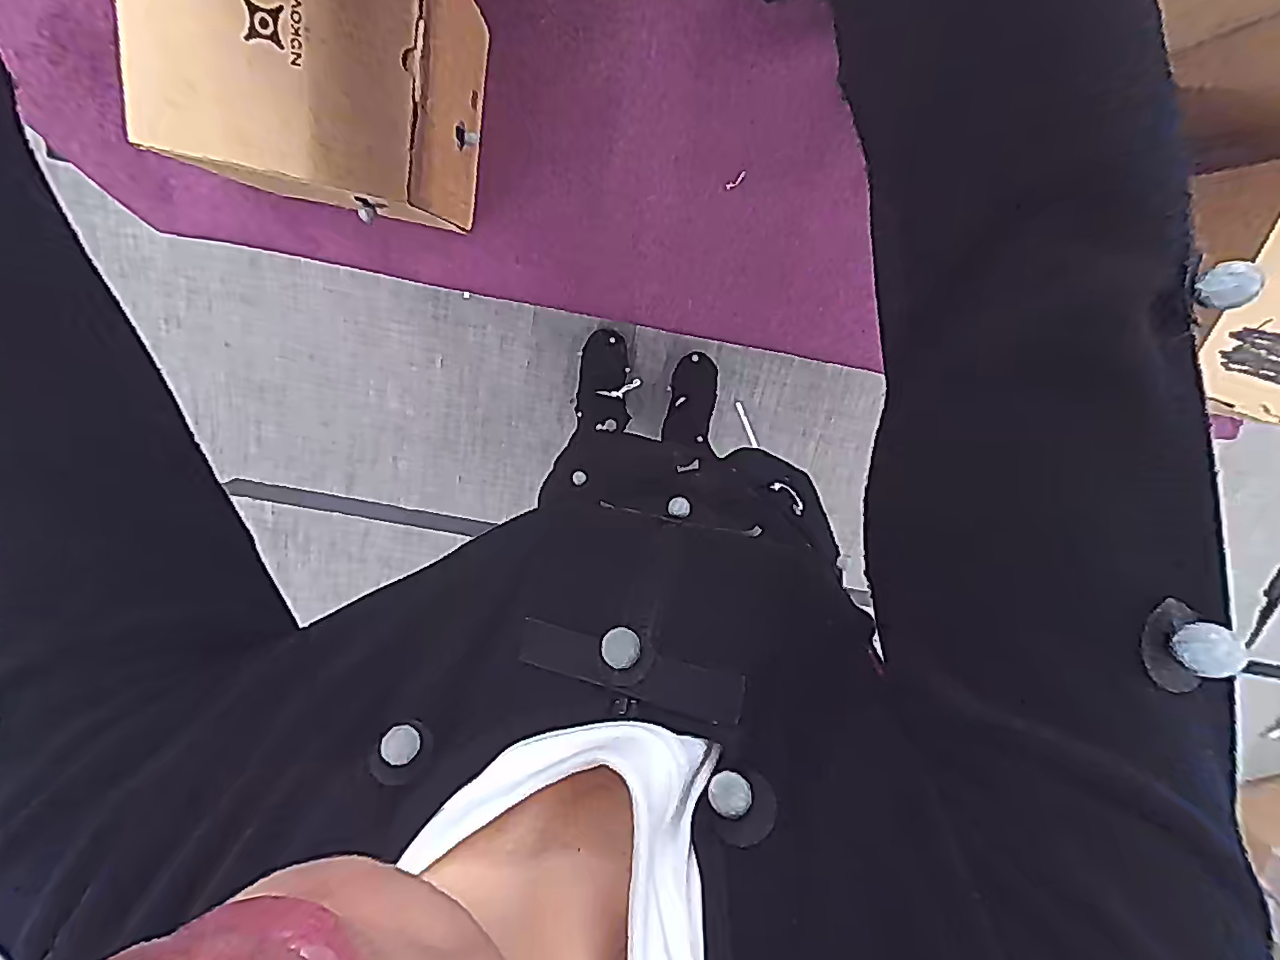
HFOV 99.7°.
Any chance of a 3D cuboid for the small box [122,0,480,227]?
[{"bbox_3d":[-0.234,-0.303,0.412,0.179,0.176,0.168,9,108,-7],"label":"small box"}]
